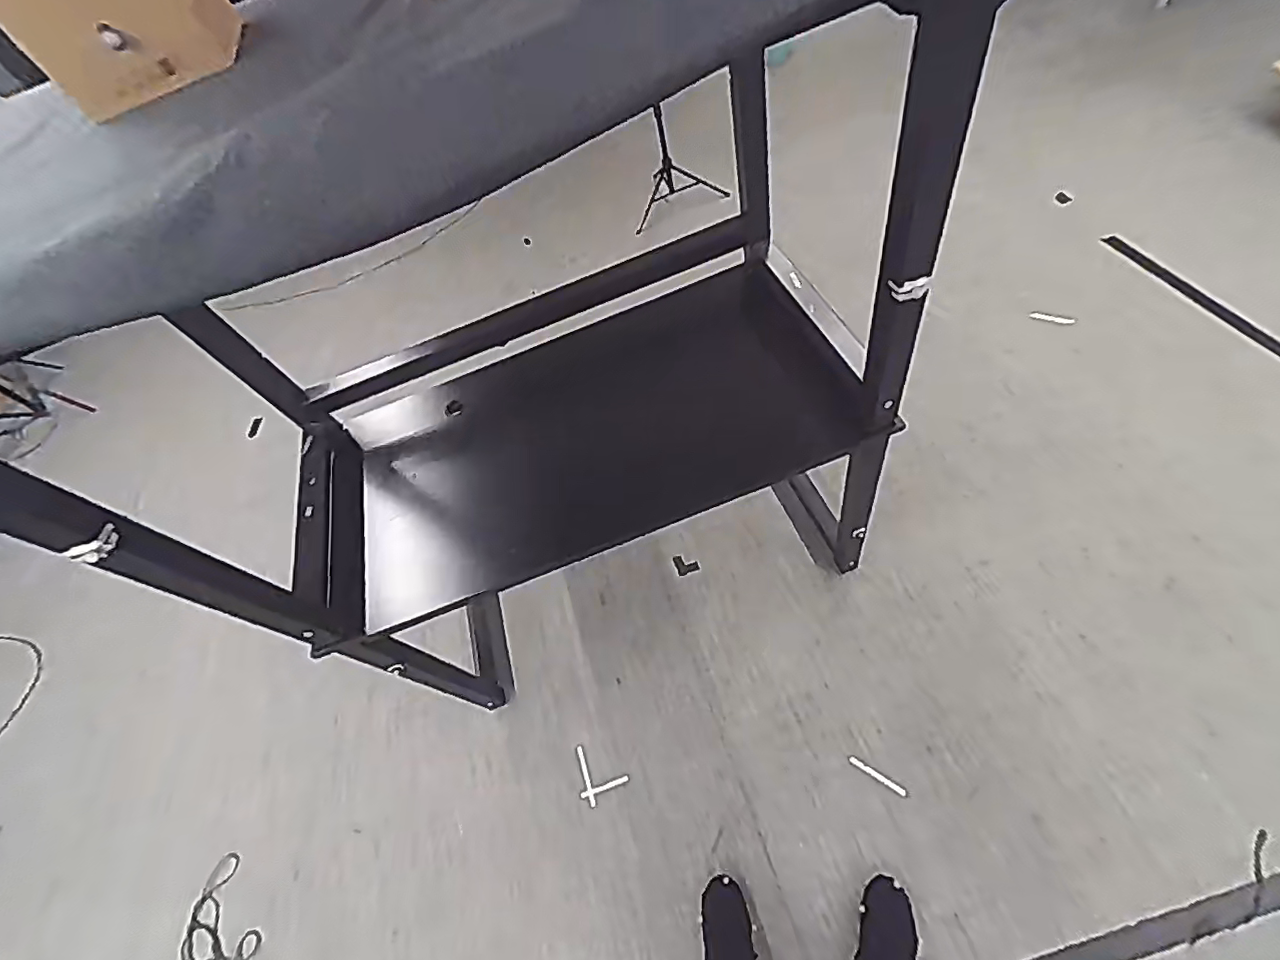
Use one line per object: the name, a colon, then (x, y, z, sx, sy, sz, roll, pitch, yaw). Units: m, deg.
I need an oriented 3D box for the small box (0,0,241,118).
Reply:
small box: (-0.566, -0.525, 0.573, 0.168, 0.176, 0.179, -24, 56, 0)
